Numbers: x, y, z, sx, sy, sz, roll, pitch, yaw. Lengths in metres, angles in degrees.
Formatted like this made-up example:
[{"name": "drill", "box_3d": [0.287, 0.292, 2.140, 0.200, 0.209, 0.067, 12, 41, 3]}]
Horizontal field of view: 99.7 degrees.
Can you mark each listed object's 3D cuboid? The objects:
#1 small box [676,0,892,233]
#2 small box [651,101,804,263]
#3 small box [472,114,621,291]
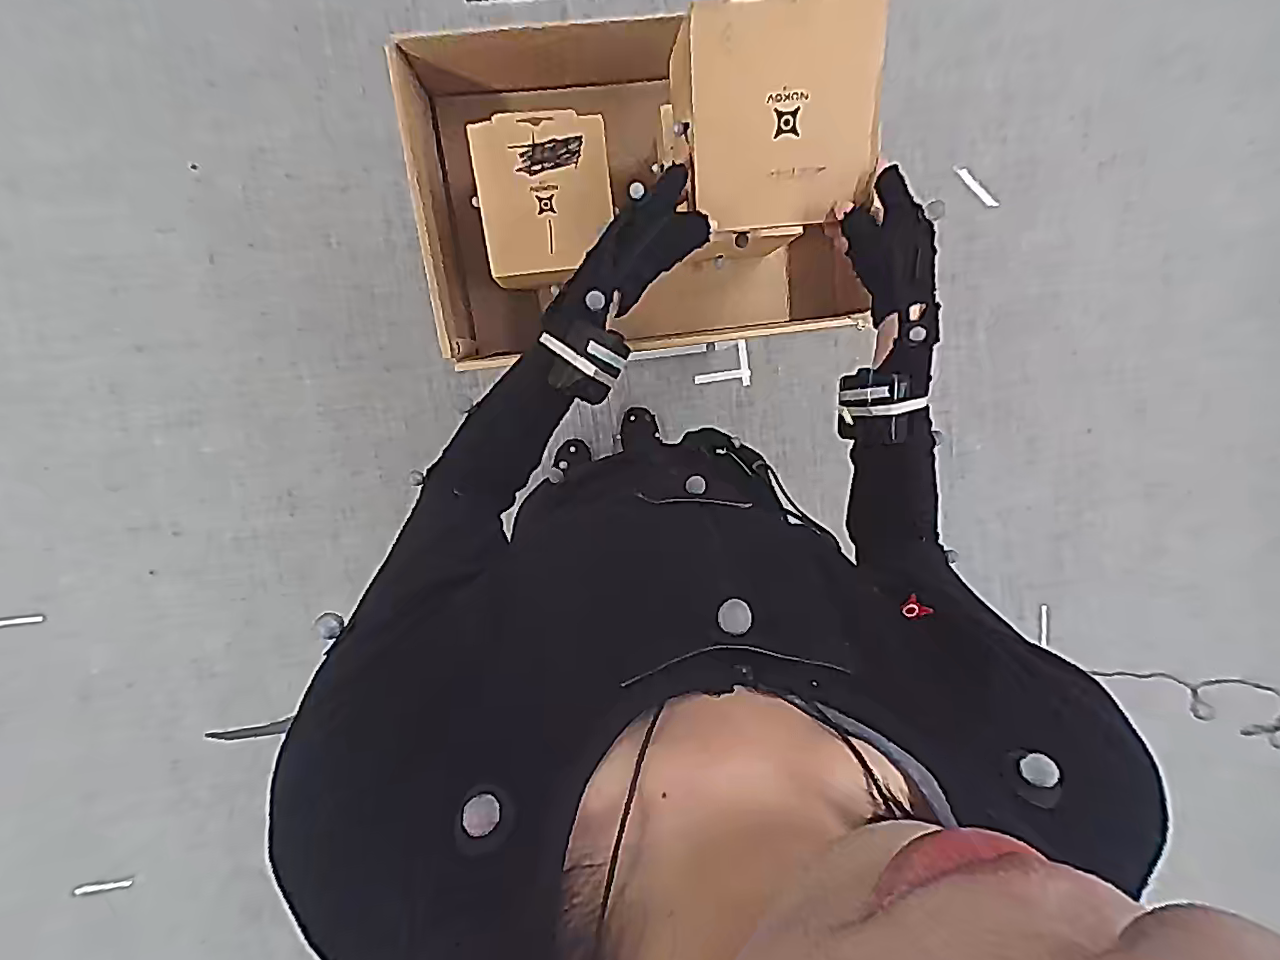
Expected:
[{"name": "small box", "box_3d": [0.128, -0.353, 0.543, 0.168, 0.176, 0.179, -5, 114, 0]}, {"name": "small box", "box_3d": [0.116, -0.410, 0.762, 0.179, 0.176, 0.168, -7, 103, -3]}, {"name": "small box", "box_3d": [-0.122, -0.369, 0.746, 0.168, 0.176, 0.179, -8, 104, -4]}]
